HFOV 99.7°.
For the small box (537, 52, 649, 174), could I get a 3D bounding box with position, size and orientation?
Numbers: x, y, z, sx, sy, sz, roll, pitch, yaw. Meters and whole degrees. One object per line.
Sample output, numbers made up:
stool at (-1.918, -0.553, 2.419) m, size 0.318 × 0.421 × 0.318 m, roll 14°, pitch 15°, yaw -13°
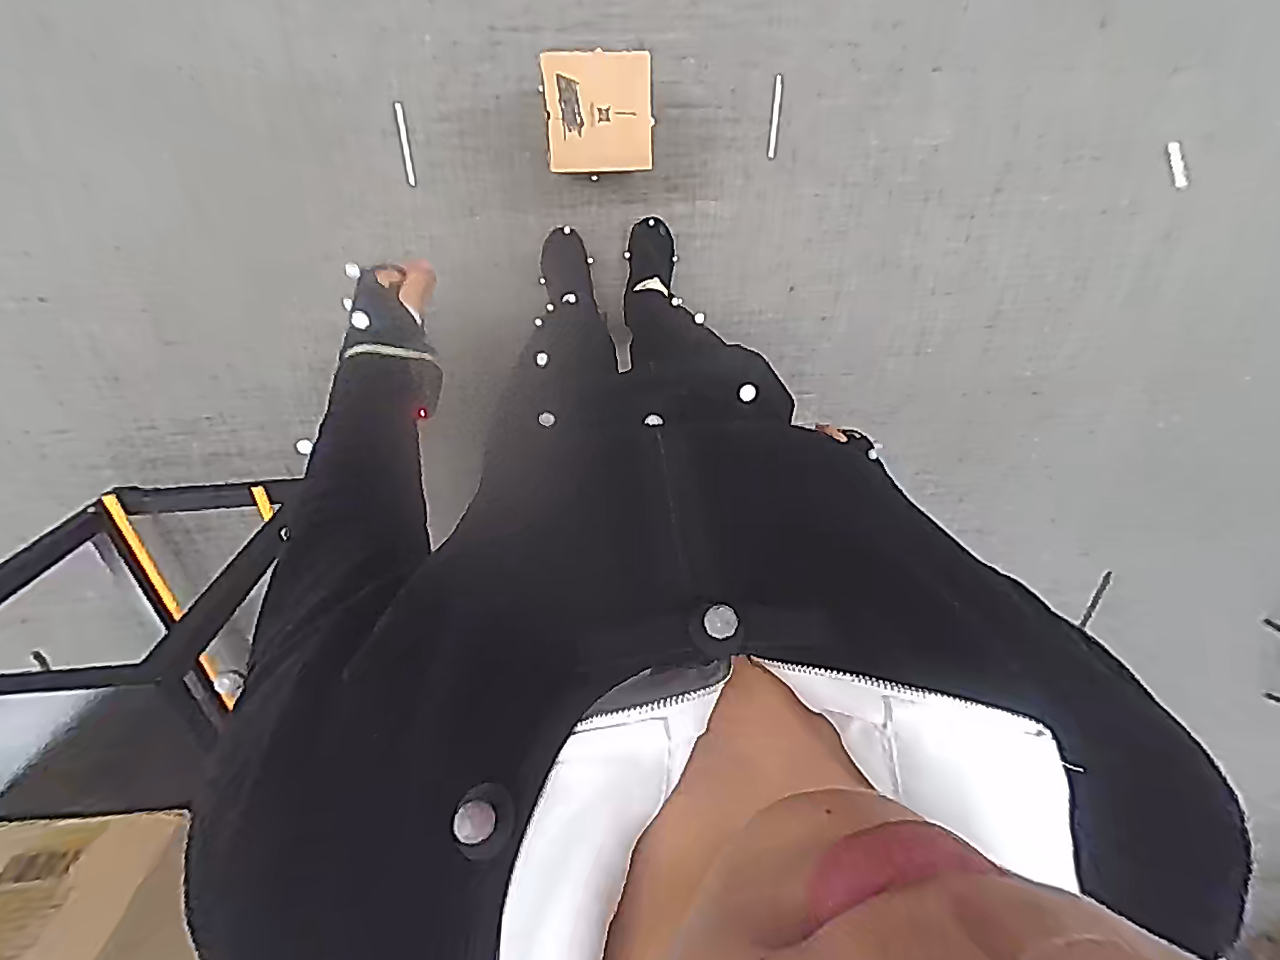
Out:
small box at (-0.078, -0.634, 0.950) m, size 0.179 × 0.176 × 0.168 m, roll -4°, pitch 121°, yaw -4°
